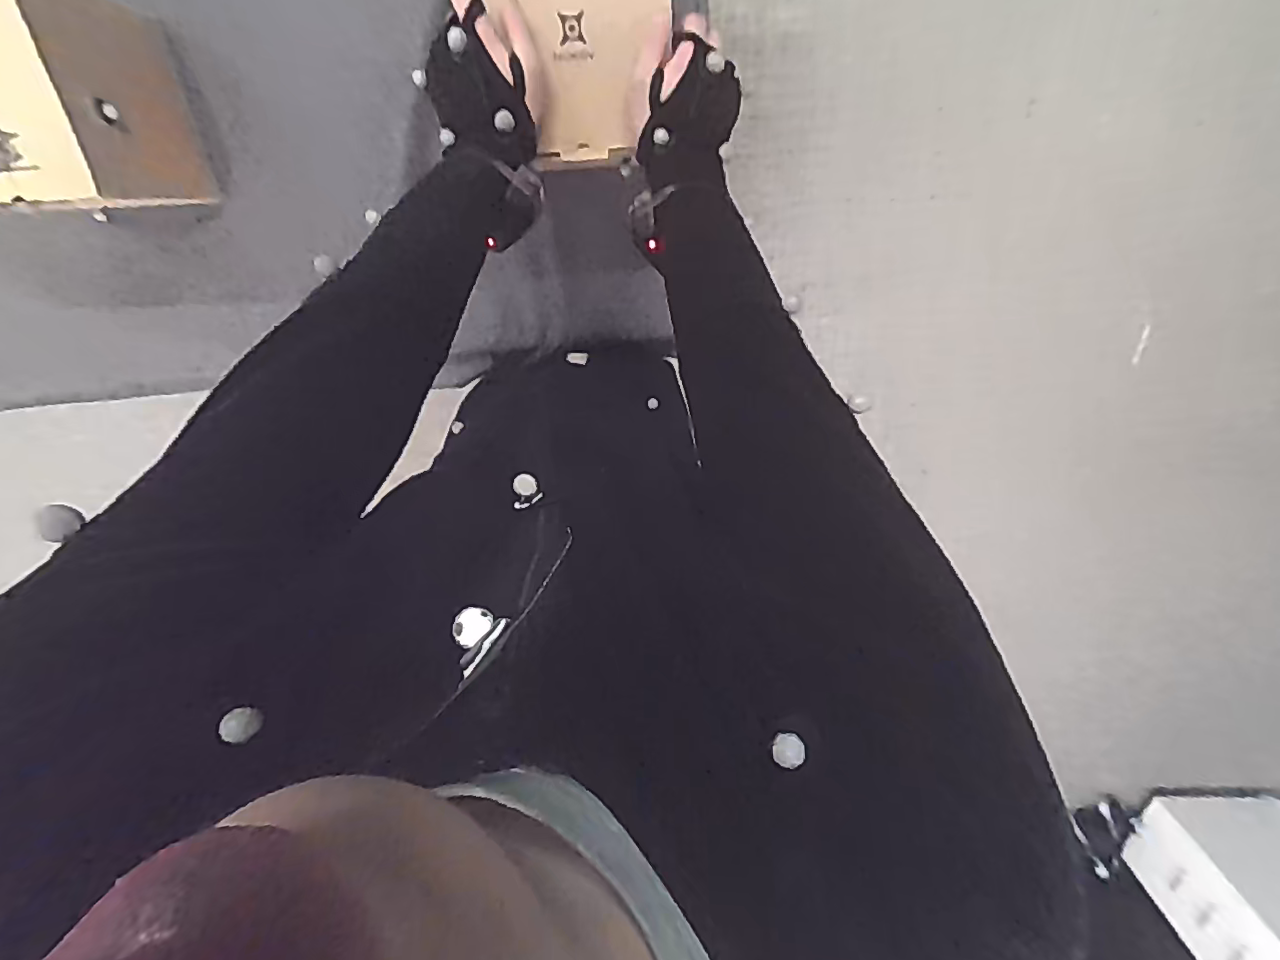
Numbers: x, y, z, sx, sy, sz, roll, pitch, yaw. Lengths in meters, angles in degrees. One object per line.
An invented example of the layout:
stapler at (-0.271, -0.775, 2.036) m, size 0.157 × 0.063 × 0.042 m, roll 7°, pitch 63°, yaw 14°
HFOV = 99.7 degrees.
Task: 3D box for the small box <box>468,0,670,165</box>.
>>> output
small box at (-0.057, -0.408, 0.519) m, size 0.168 × 0.176 × 0.179 m, roll -4°, pitch 117°, yaw 1°

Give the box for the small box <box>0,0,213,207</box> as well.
small box at (-0.583, -0.373, 0.536) m, size 0.168 × 0.176 × 0.179 m, roll -3°, pitch 117°, yaw 1°
